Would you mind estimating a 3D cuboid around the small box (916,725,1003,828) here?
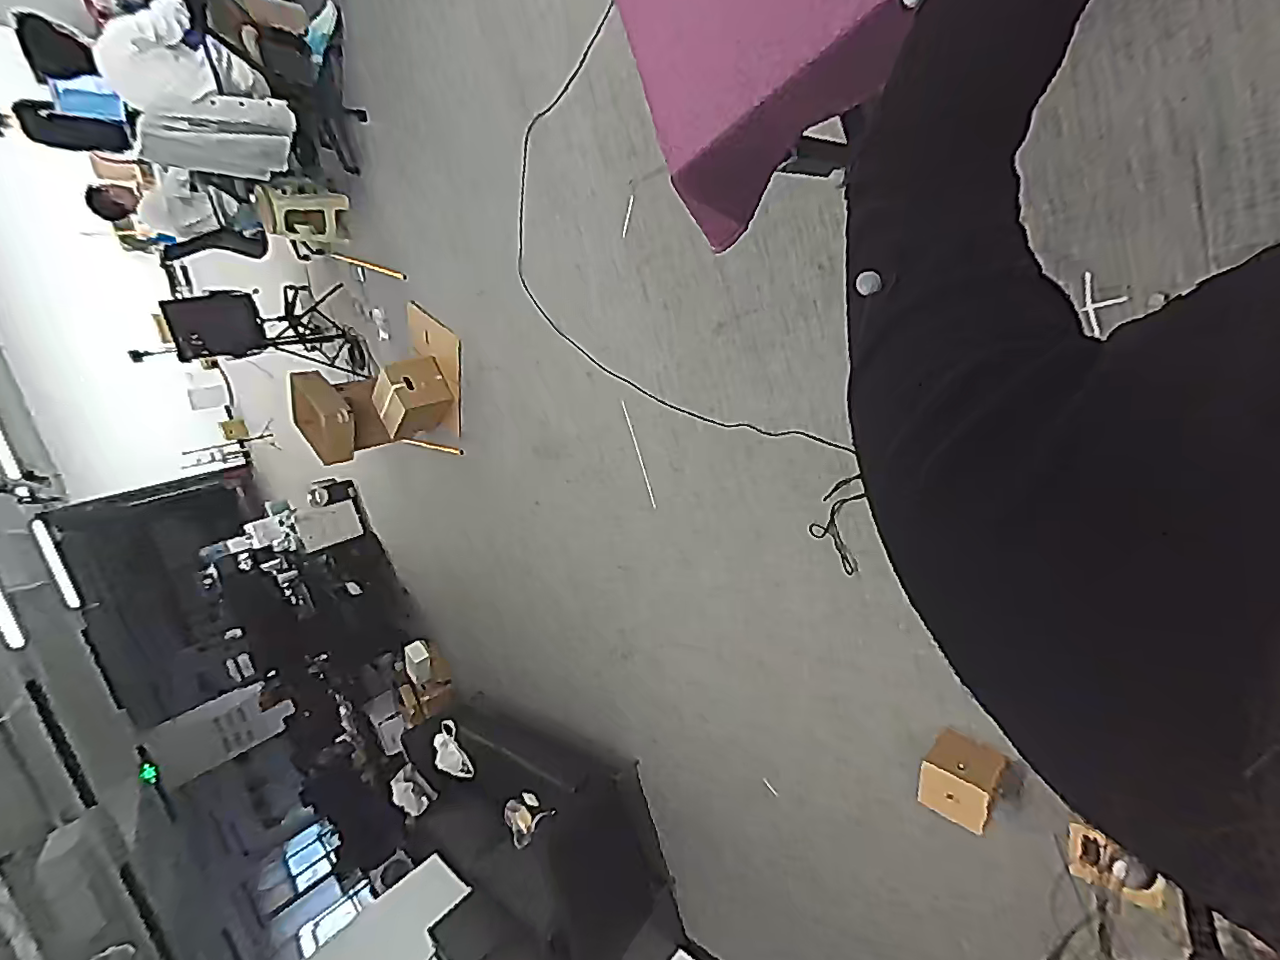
[{"bbox_3d":[0.951,0.870,1.607,0.179,0.176,0.168,16,119,44],"label":"small box"}]
